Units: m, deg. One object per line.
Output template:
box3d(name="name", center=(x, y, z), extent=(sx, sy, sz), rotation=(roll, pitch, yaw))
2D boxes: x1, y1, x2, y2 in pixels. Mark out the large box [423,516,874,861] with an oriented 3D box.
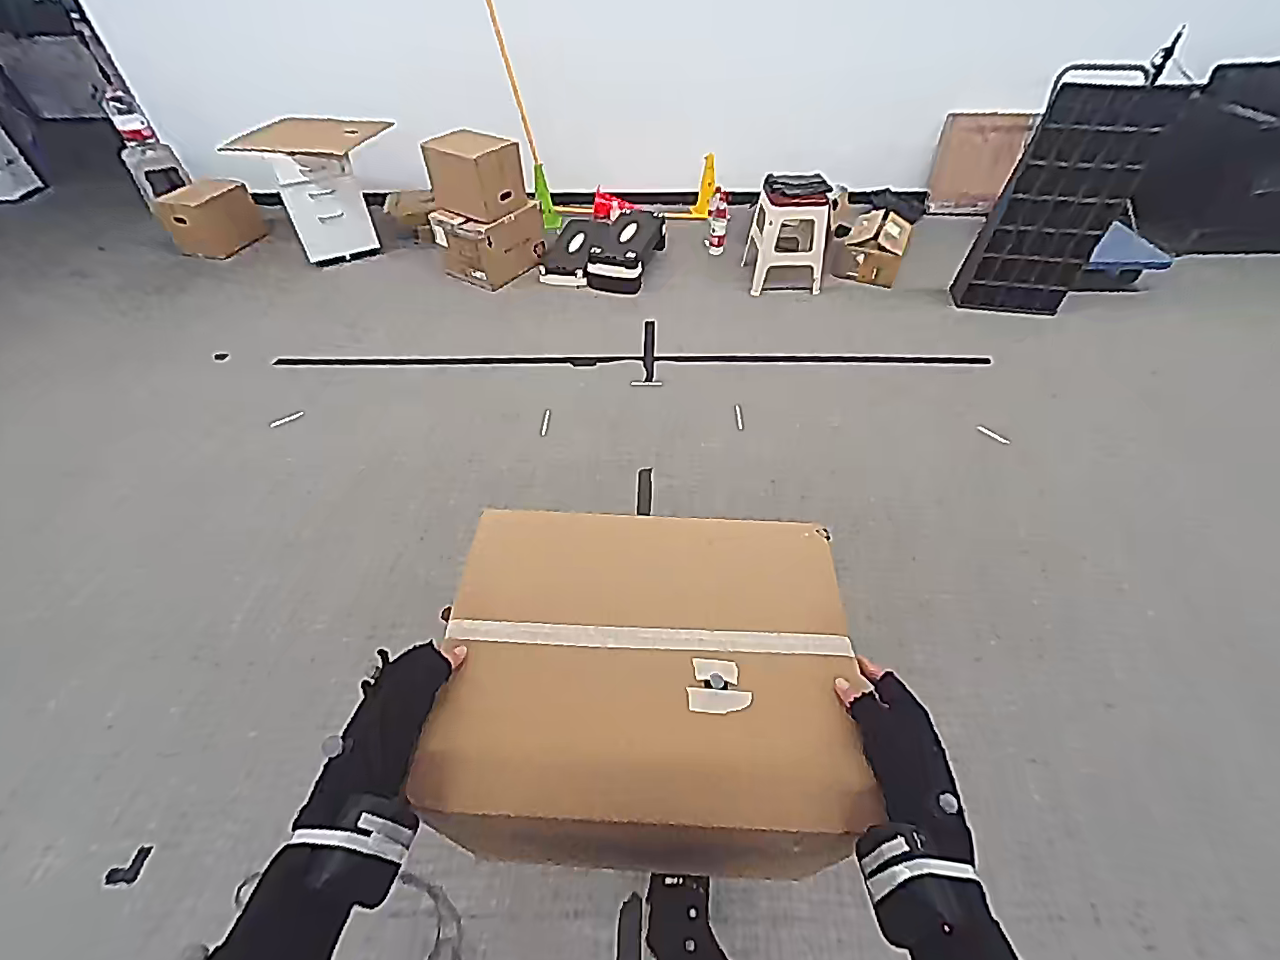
box3d(name="large box", center=(0.007, 0.264, 0.676), extent=(0.408, 0.320, 0.320), rotation=(3, 49, 1))
